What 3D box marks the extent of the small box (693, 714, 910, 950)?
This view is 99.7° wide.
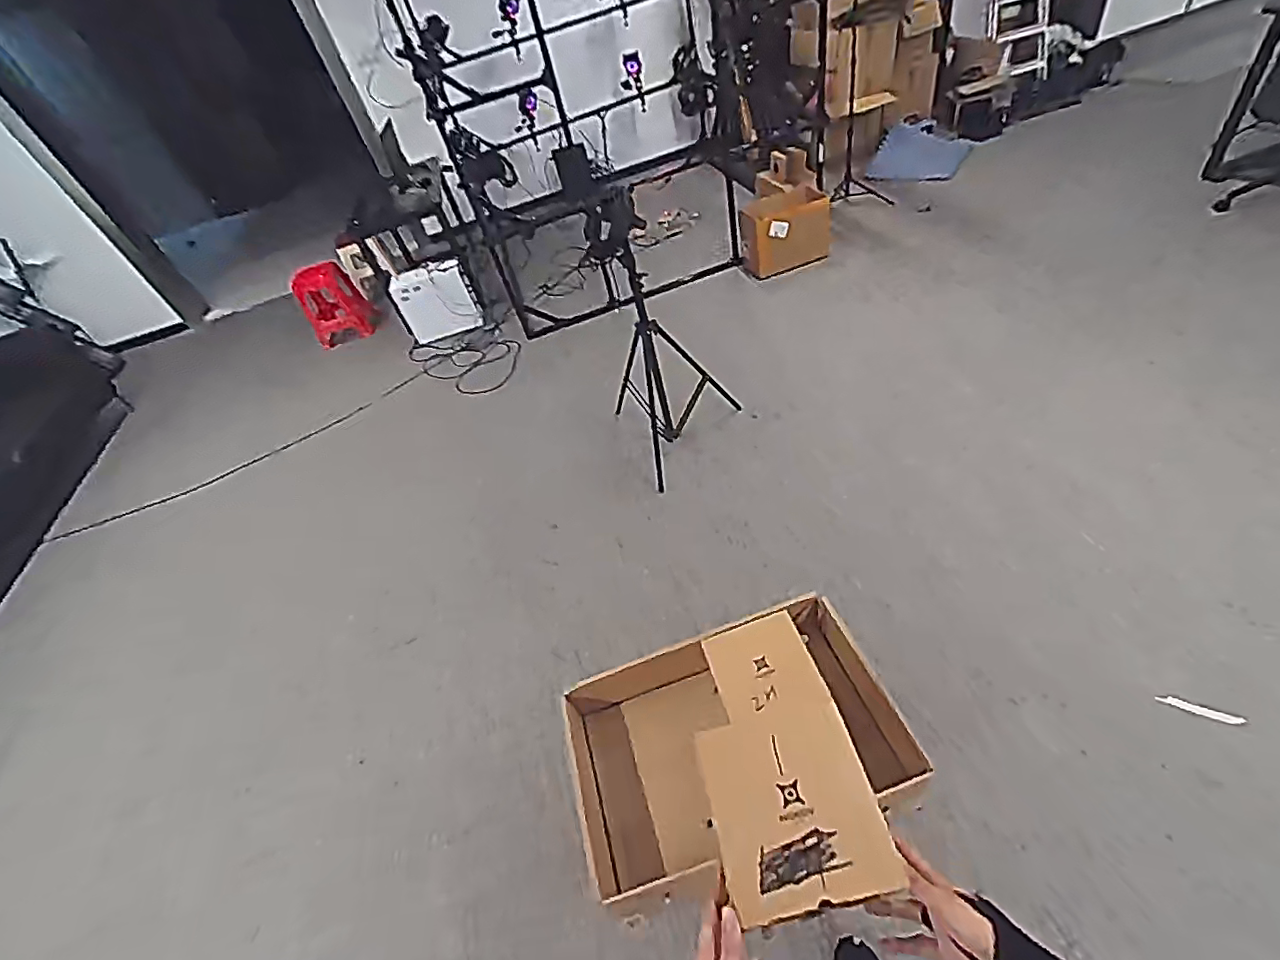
[{"bbox_3d":[0.162,0.388,0.599,0.168,0.176,0.179,-12,49,-2],"label":"small box"}]

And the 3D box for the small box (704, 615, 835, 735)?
[{"bbox_3d":[0.227,0.375,0.956,0.168,0.176,0.179,-21,45,1],"label":"small box"}]
